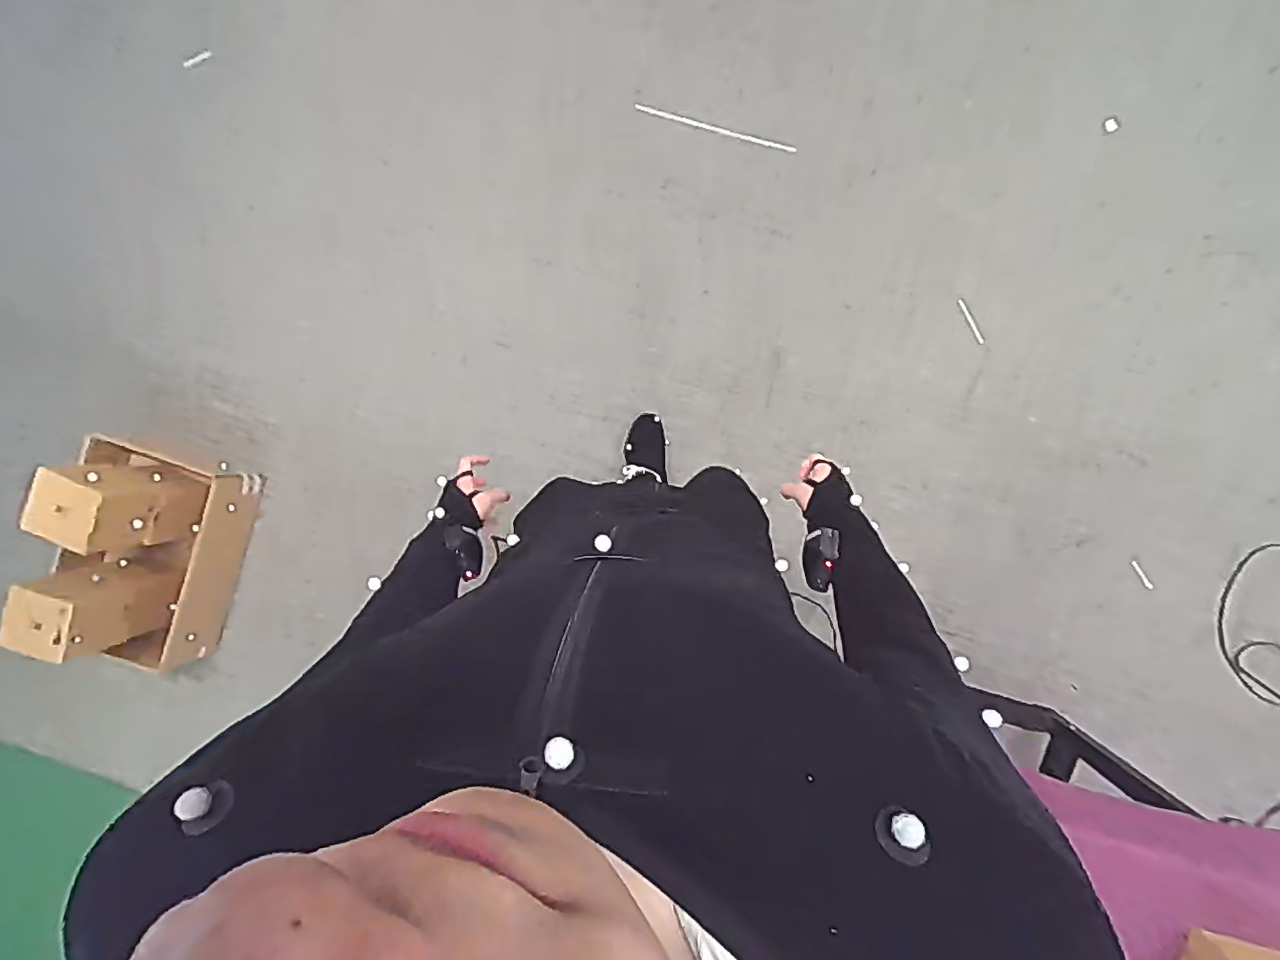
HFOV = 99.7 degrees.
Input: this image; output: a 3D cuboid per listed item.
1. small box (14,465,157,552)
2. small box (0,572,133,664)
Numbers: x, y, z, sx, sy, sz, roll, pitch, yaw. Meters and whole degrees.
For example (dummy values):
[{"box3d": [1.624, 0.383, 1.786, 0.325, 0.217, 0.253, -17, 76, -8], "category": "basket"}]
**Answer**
[{"box3d": [-1.427, 0.067, 1.402, 0.179, 0.176, 0.168, 23, 95, 0], "category": "small box"}, {"box3d": [-1.513, 0.354, 1.426, 0.179, 0.176, 0.168, 16, 95, 2], "category": "small box"}]
